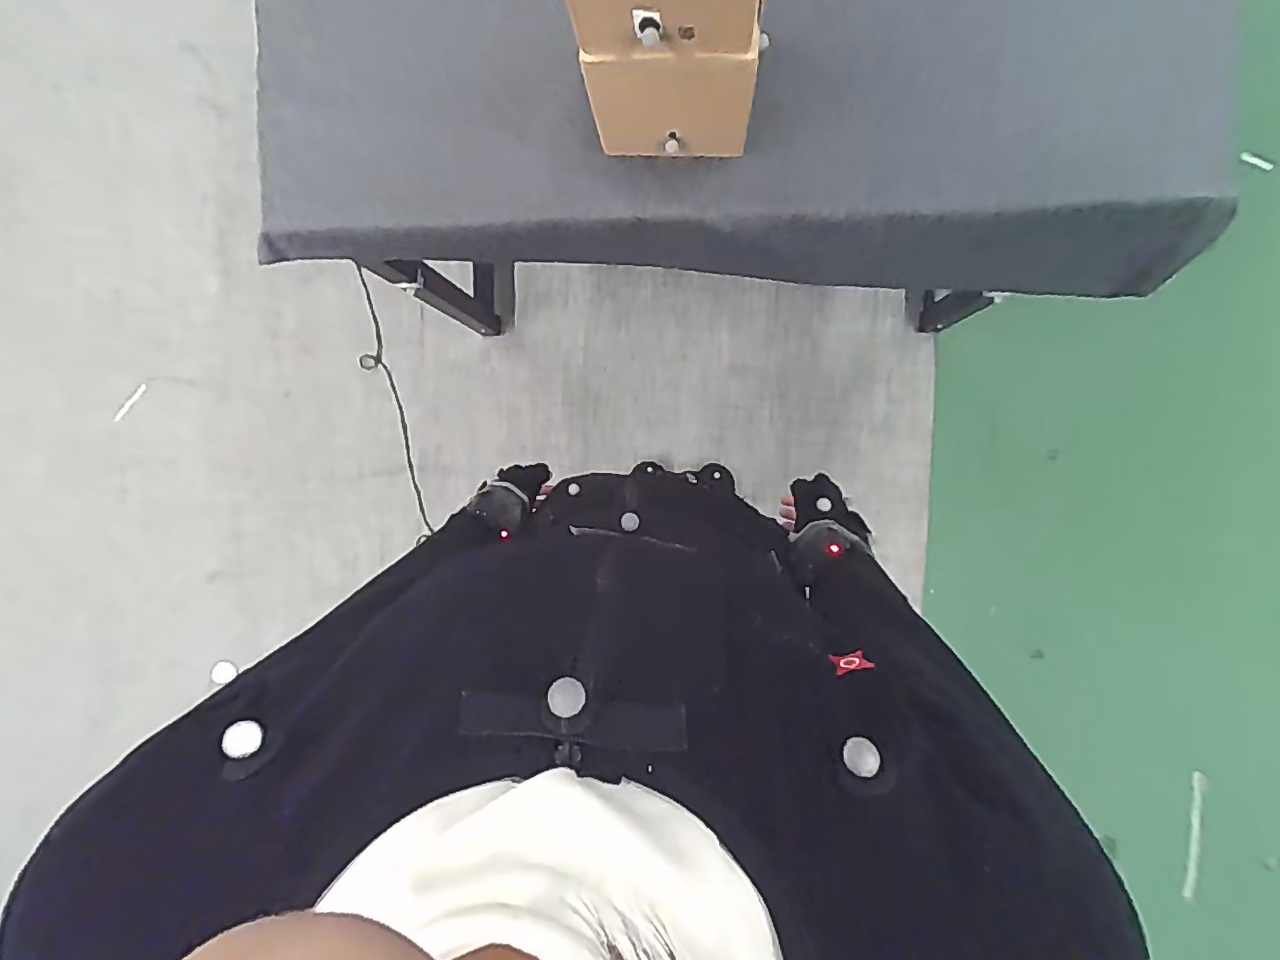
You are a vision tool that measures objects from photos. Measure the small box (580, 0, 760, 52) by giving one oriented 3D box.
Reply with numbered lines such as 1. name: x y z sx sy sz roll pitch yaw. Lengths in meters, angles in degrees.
1. small box: 0.024 -0.499 0.442 0.168 0.176 0.179 3 93 7

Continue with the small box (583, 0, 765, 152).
1. small box: 0.041 -0.495 0.604 0.179 0.176 0.168 4 92 5
